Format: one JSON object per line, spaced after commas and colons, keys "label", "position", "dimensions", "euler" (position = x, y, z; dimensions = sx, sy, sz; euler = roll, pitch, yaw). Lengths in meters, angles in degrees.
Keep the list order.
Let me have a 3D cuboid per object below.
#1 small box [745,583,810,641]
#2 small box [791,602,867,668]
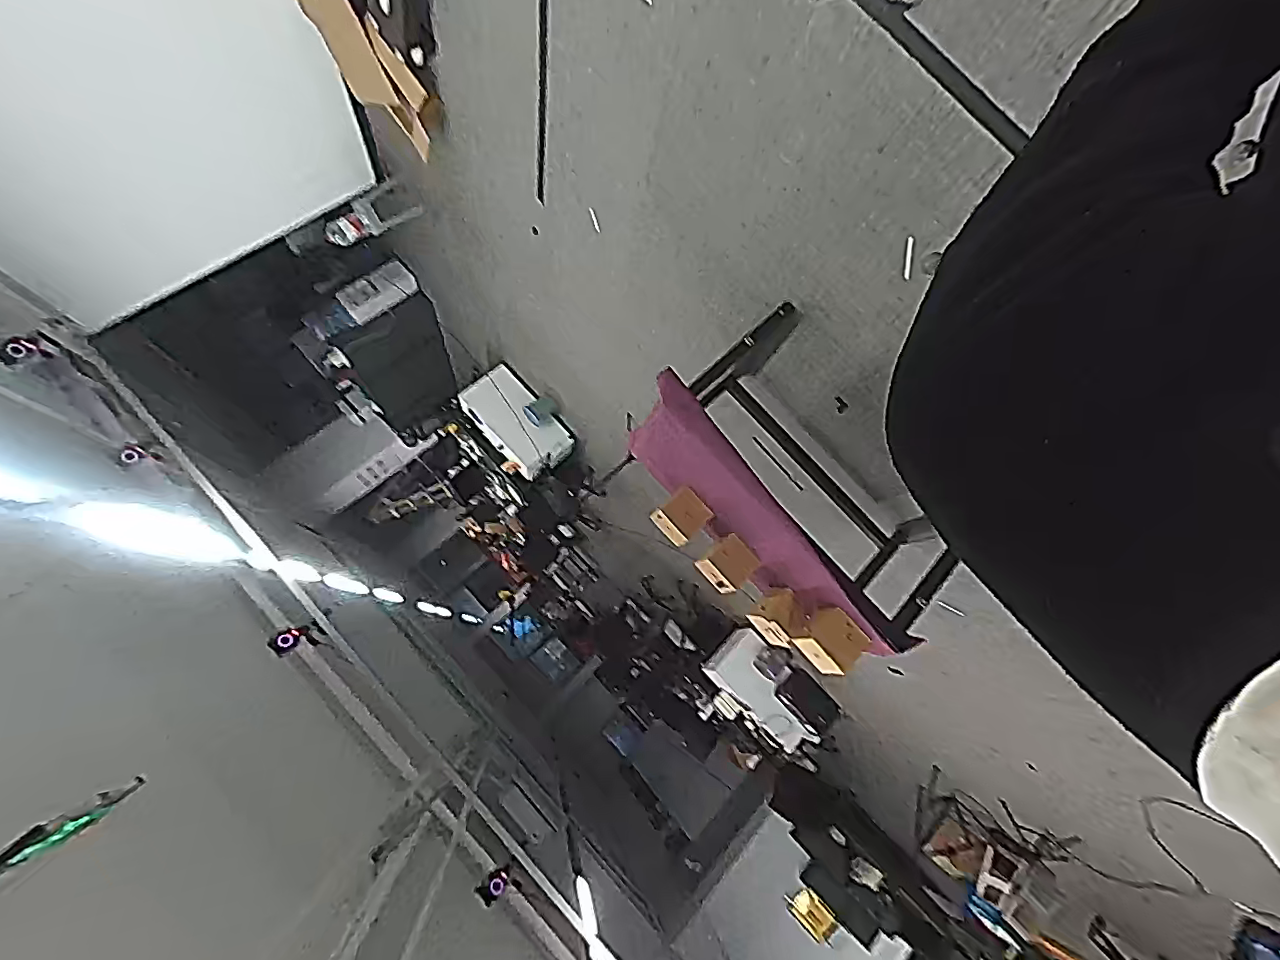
{"label": "small box", "position": [0.577, 0.542, 2.242], "dimensions": [0.168, 0.176, 0.179], "euler": [49, 161, -2]}
{"label": "small box", "position": [0.708, 0.577, 2.018], "dimensions": [0.168, 0.176, 0.179], "euler": [47, 161, 7]}
